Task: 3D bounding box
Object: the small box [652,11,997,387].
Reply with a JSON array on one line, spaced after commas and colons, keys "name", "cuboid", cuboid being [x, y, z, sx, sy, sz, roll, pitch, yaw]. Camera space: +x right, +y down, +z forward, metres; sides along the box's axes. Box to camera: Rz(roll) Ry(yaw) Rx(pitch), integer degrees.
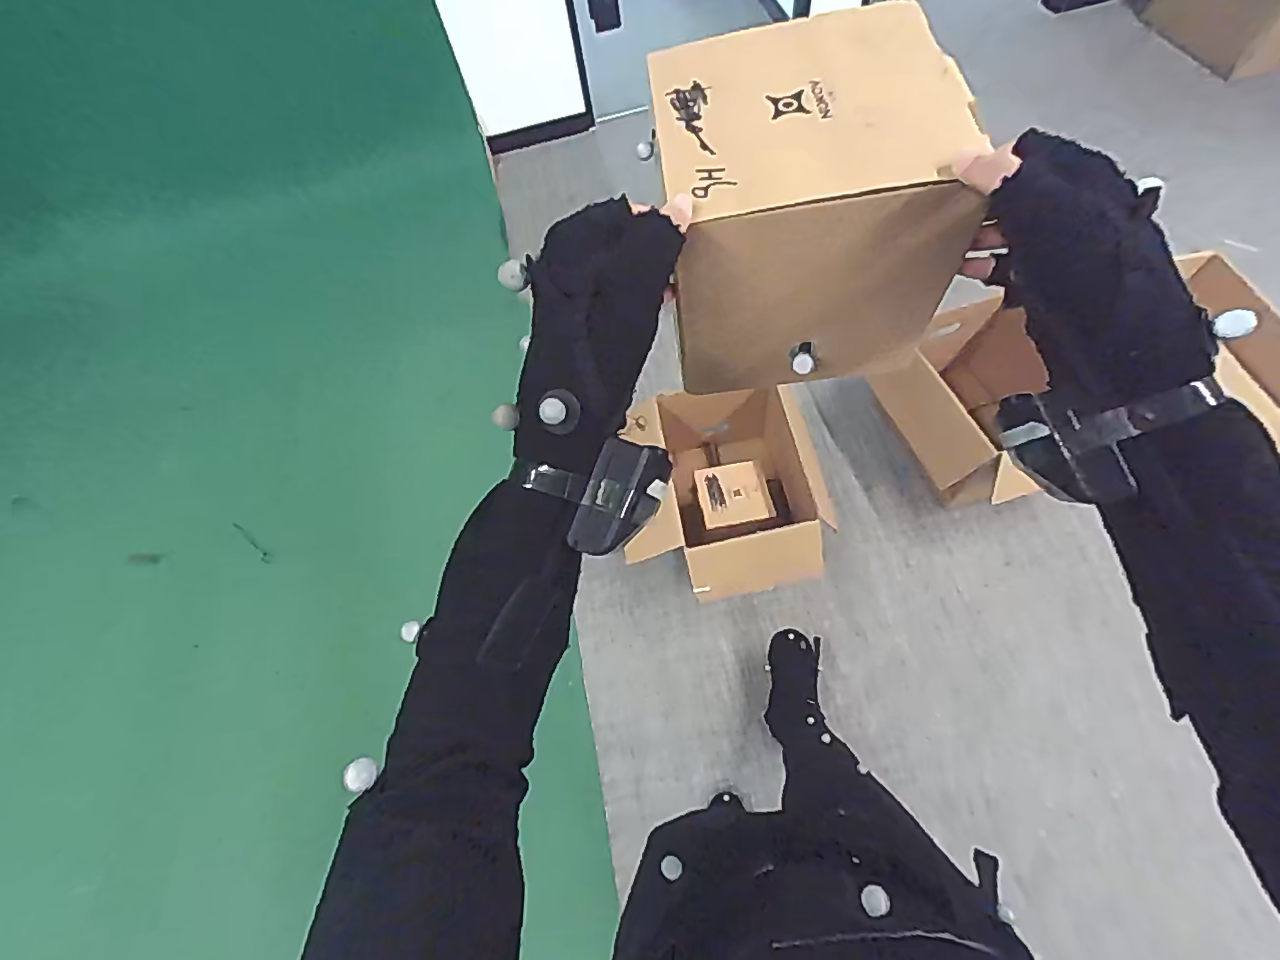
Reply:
[{"name": "small box", "cuboid": [0.105, -0.186, 0.392, 0.179, 0.176, 0.168, -6, 64, 4]}]
